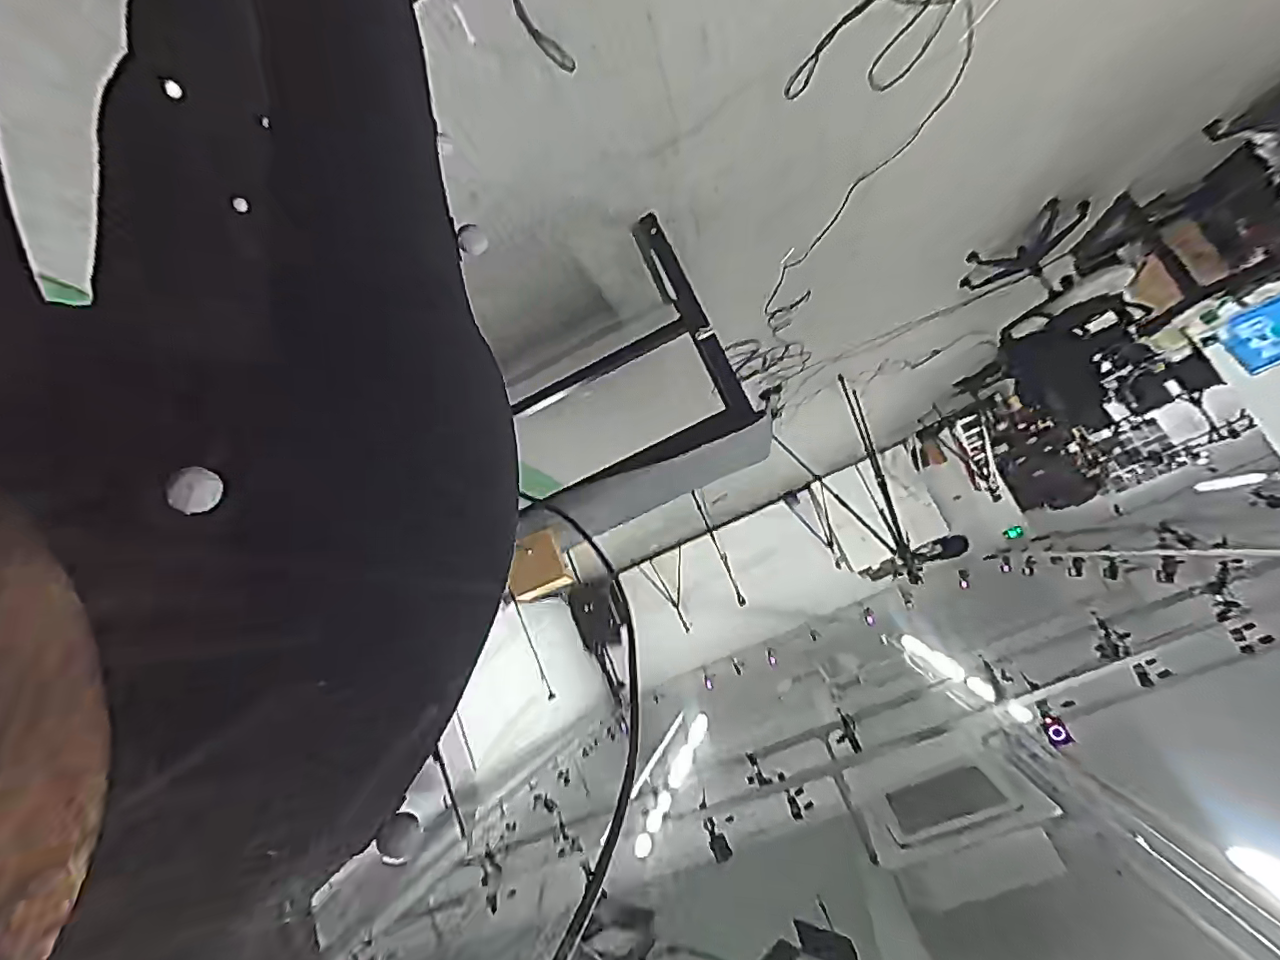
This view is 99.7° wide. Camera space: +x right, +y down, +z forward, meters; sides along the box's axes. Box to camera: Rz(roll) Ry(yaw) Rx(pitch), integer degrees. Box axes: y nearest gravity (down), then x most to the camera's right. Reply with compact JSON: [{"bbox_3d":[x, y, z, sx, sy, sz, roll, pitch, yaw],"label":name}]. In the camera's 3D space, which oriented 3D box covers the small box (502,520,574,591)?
[{"bbox_3d":[-0.323,0.241,1.728,0.168,0.176,0.179,-23,167,-6],"label":"small box"}]
